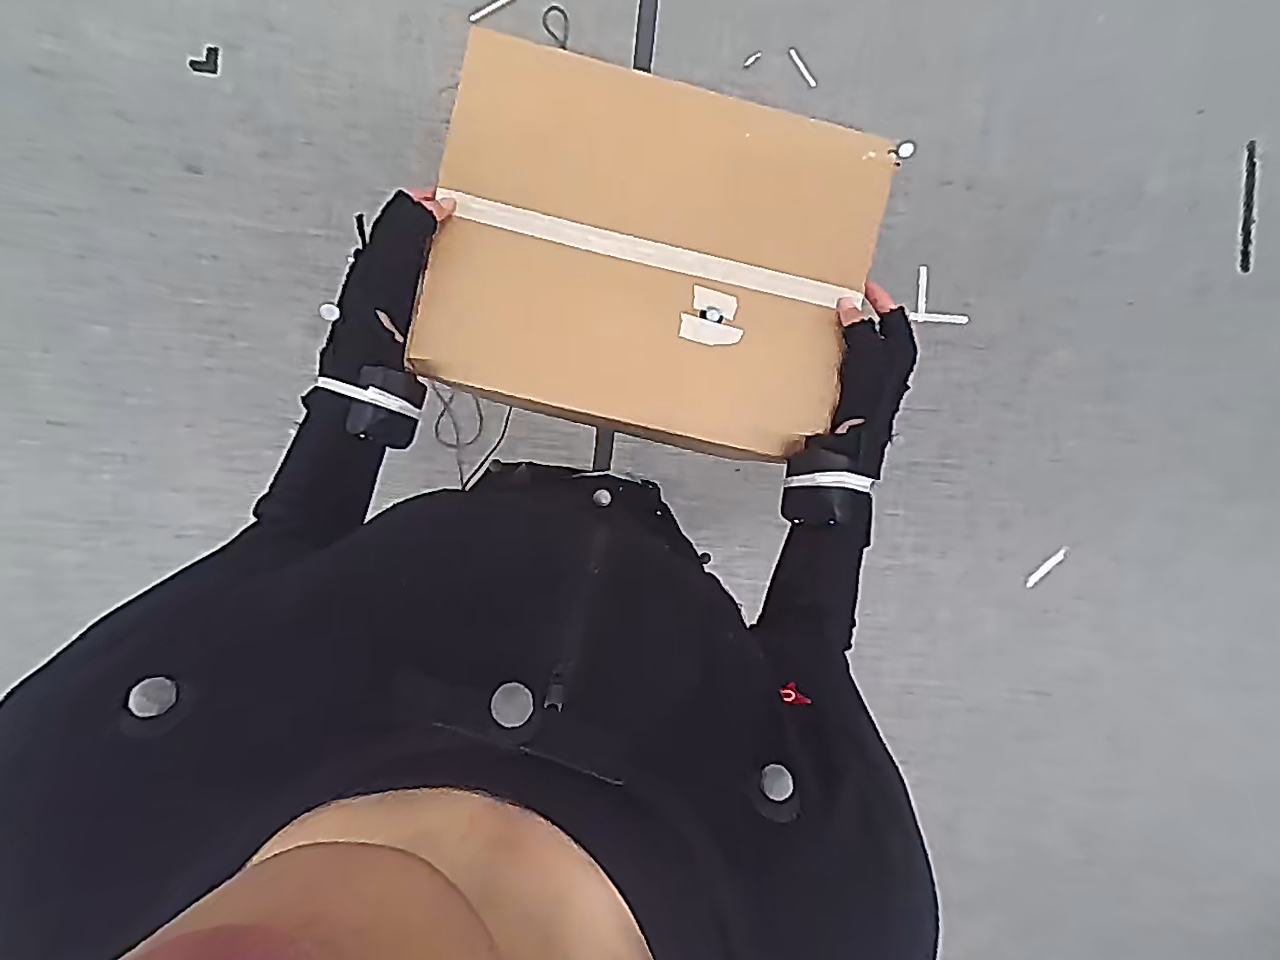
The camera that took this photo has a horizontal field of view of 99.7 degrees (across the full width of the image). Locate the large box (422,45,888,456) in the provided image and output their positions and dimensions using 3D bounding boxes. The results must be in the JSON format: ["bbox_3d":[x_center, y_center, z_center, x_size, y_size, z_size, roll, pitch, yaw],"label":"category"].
[{"bbox_3d":[0.006,-0.220,0.663,0.408,0.320,0.320,13,93,-5],"label":"large box"}]
